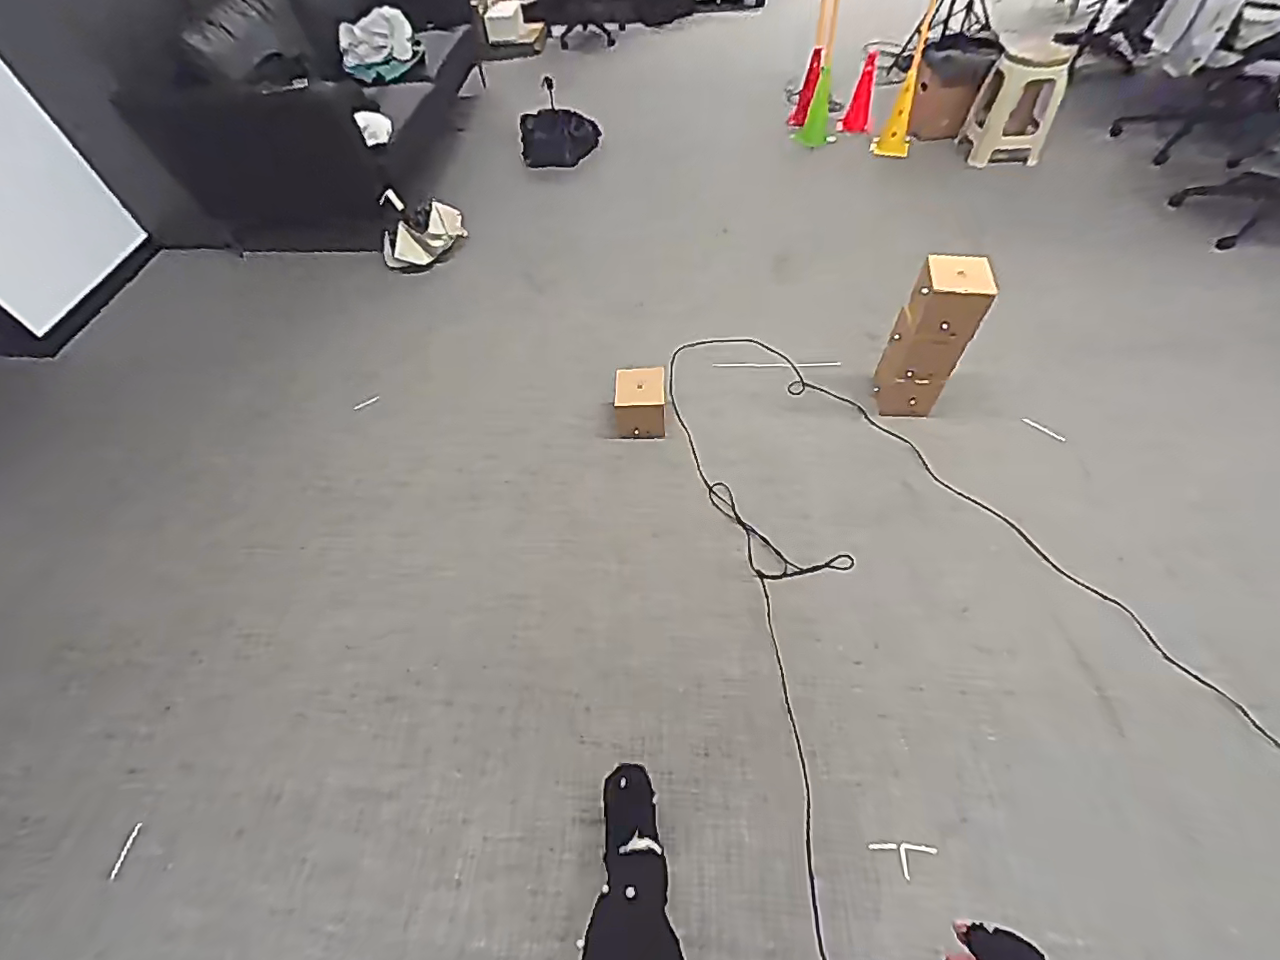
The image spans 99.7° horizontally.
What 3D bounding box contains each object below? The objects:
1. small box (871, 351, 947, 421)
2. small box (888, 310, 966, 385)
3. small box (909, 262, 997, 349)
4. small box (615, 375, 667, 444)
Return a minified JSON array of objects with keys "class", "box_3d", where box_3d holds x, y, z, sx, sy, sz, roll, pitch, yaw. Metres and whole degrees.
[{"class":"small box","box_3d":[0.919,-0.321,1.863,0.168,0.176,0.179,2,56,1]},{"class":"small box","box_3d":[0.914,-0.422,1.731,0.168,0.176,0.179,3,53,6]},{"class":"small box","box_3d":[0.913,-0.516,1.598,0.168,0.176,0.179,7,55,9]},{"class":"small box","box_3d":[0.007,-0.244,1.873,0.168,0.176,0.179,-1,54,4]}]
